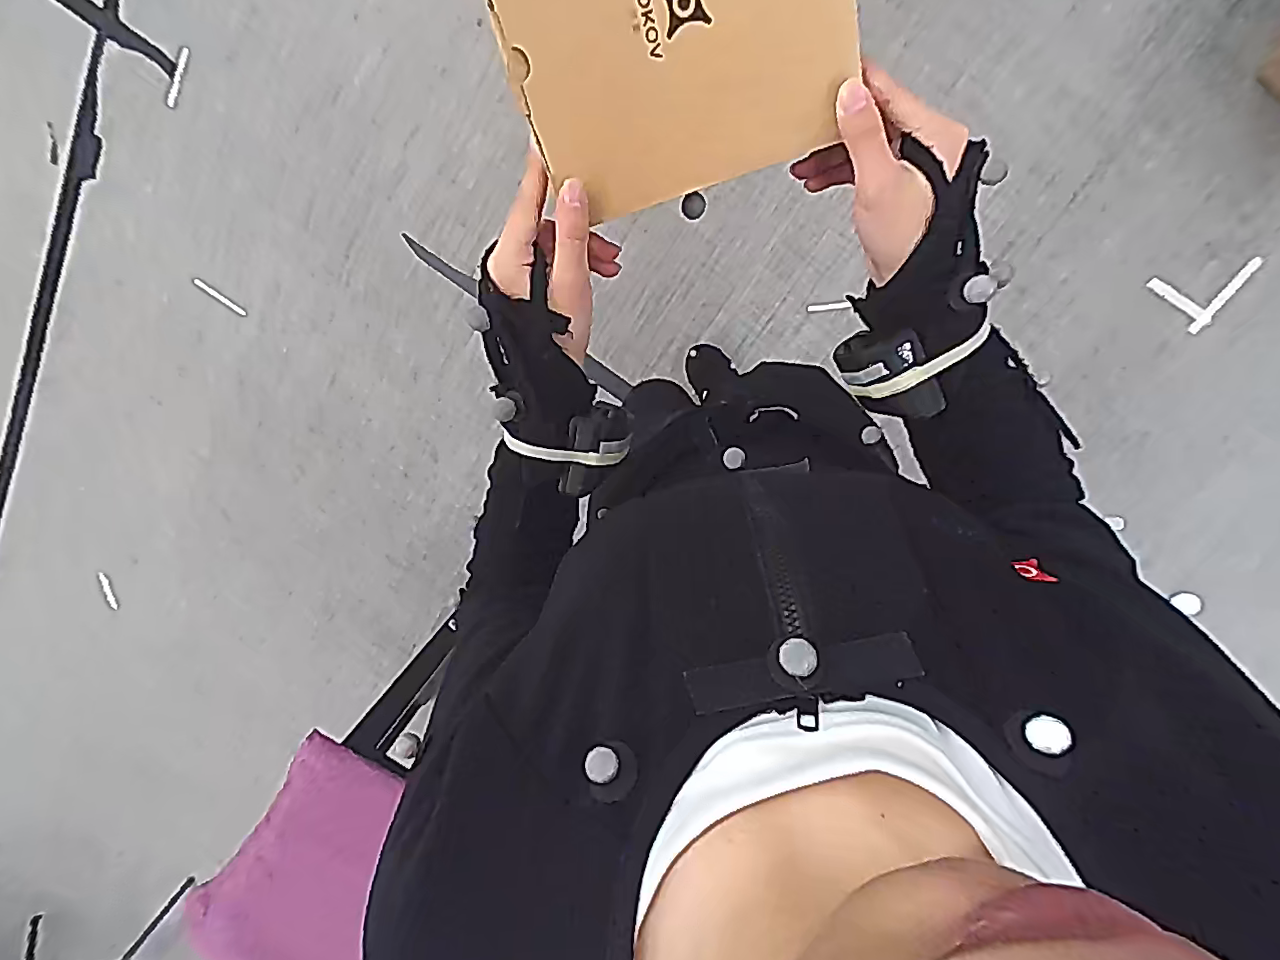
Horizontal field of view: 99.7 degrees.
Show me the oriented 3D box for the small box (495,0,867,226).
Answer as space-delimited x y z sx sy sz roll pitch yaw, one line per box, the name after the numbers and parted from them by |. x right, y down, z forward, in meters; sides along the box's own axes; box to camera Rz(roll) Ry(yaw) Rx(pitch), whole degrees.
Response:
0.016 -0.276 0.332 0.179 0.176 0.168 -15 120 7 | small box
